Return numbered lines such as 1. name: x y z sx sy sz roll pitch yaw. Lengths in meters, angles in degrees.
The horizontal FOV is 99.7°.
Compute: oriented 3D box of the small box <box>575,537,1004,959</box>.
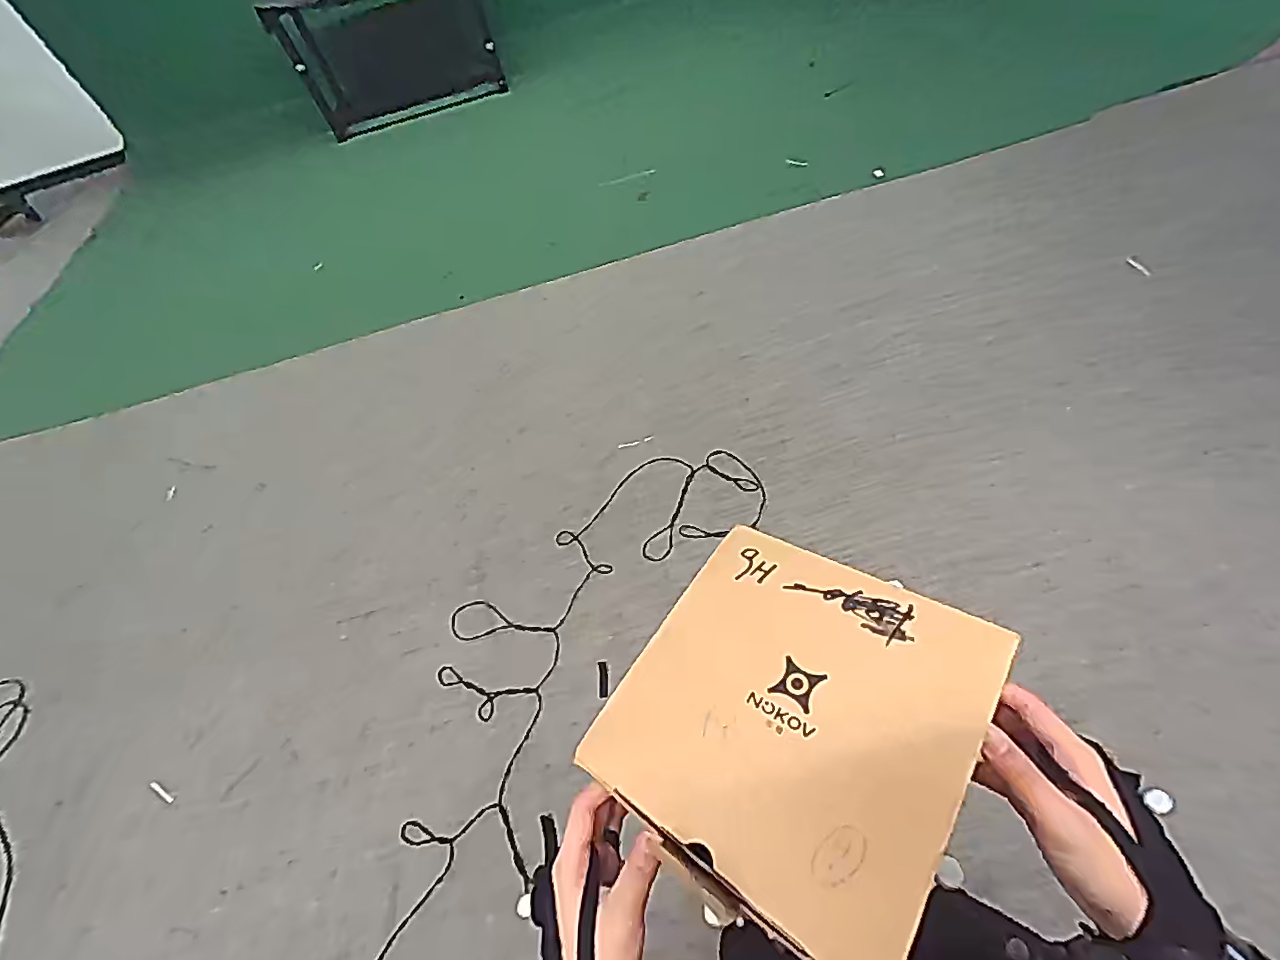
1. small box: 0.097 0.173 0.339 0.168 0.176 0.179 21 59 35
